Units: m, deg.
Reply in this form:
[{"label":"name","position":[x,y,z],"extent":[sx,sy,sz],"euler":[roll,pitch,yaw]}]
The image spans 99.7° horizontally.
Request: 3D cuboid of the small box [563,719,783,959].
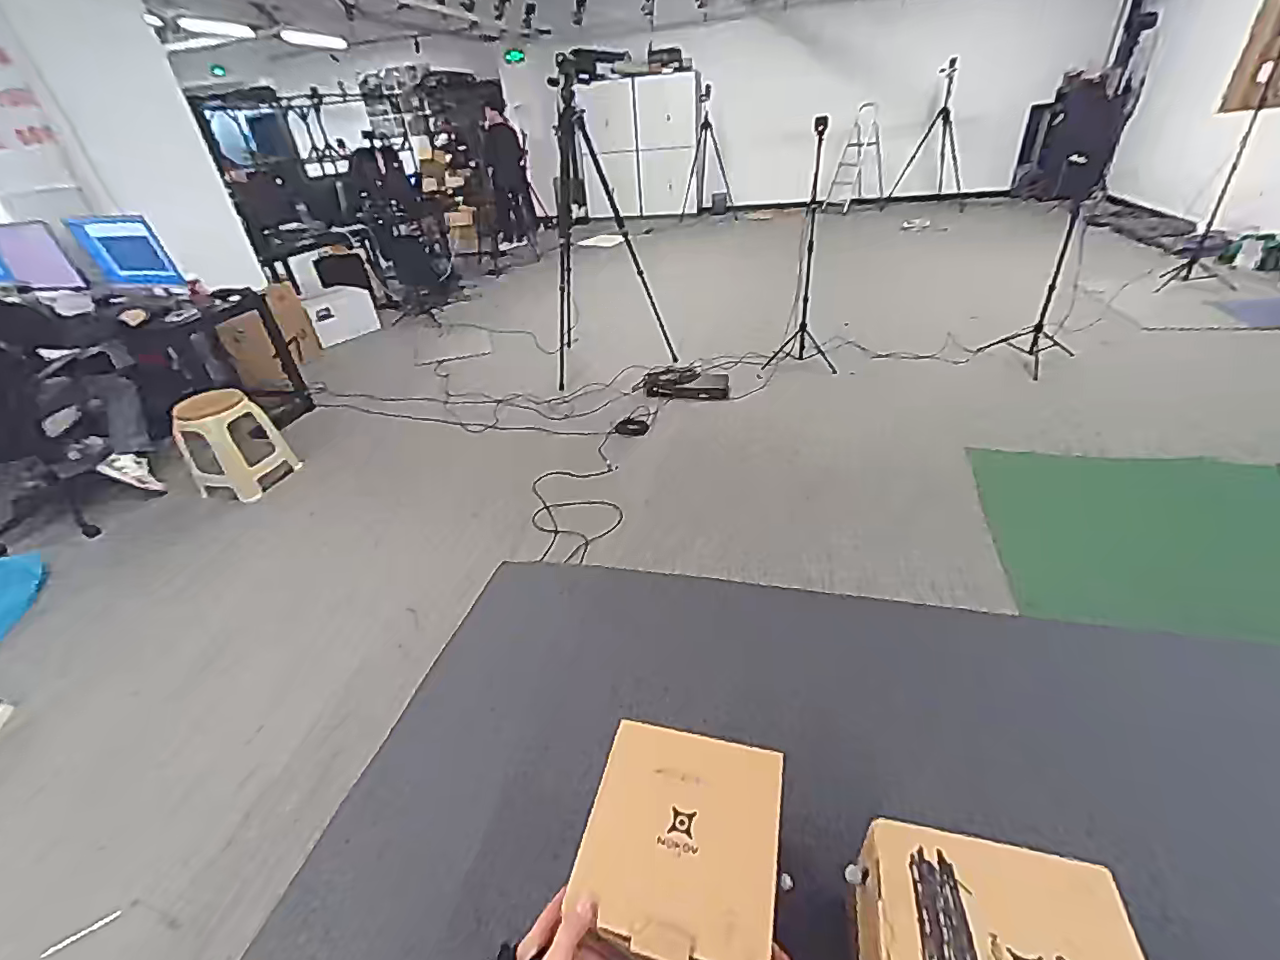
[{"label":"small box","position":[0.044,0.369,0.517],"extent":[0.168,0.176,0.179],"euler":[5,34,14]}]
